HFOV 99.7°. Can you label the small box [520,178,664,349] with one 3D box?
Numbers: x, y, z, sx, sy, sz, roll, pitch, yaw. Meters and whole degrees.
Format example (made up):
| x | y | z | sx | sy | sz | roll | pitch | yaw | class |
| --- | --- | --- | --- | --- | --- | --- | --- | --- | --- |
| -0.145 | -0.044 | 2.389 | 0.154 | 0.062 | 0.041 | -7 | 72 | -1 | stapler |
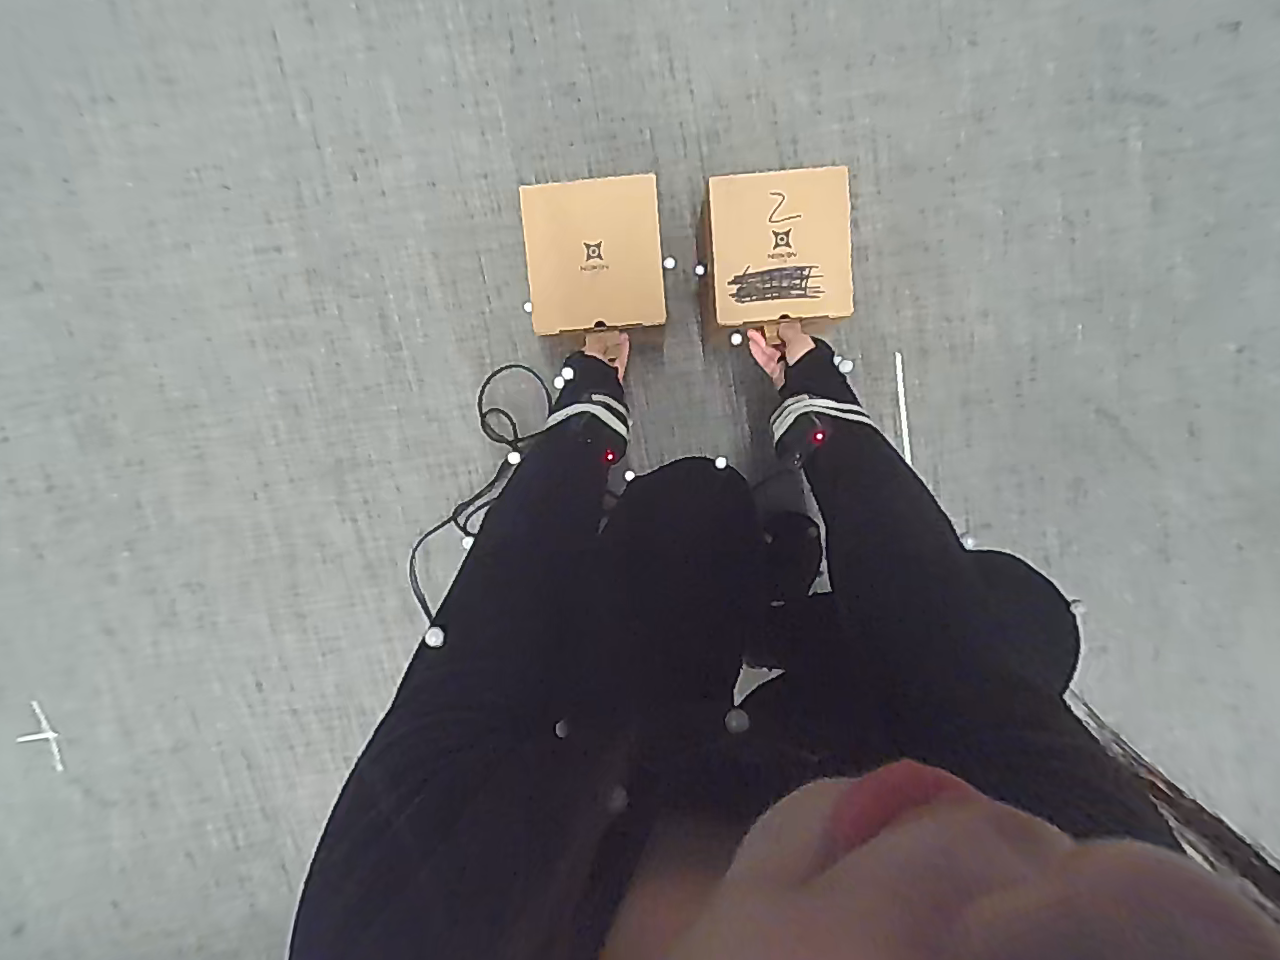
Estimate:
| x | y | z | sx | sy | sz | roll | pitch | yaw | class |
| --- | --- | --- | --- | --- | --- | --- | --- | --- | --- |
| -0.058 | -0.282 | 0.738 | 0.168 | 0.176 | 0.179 | -5 | 98 | 2 | small box |
